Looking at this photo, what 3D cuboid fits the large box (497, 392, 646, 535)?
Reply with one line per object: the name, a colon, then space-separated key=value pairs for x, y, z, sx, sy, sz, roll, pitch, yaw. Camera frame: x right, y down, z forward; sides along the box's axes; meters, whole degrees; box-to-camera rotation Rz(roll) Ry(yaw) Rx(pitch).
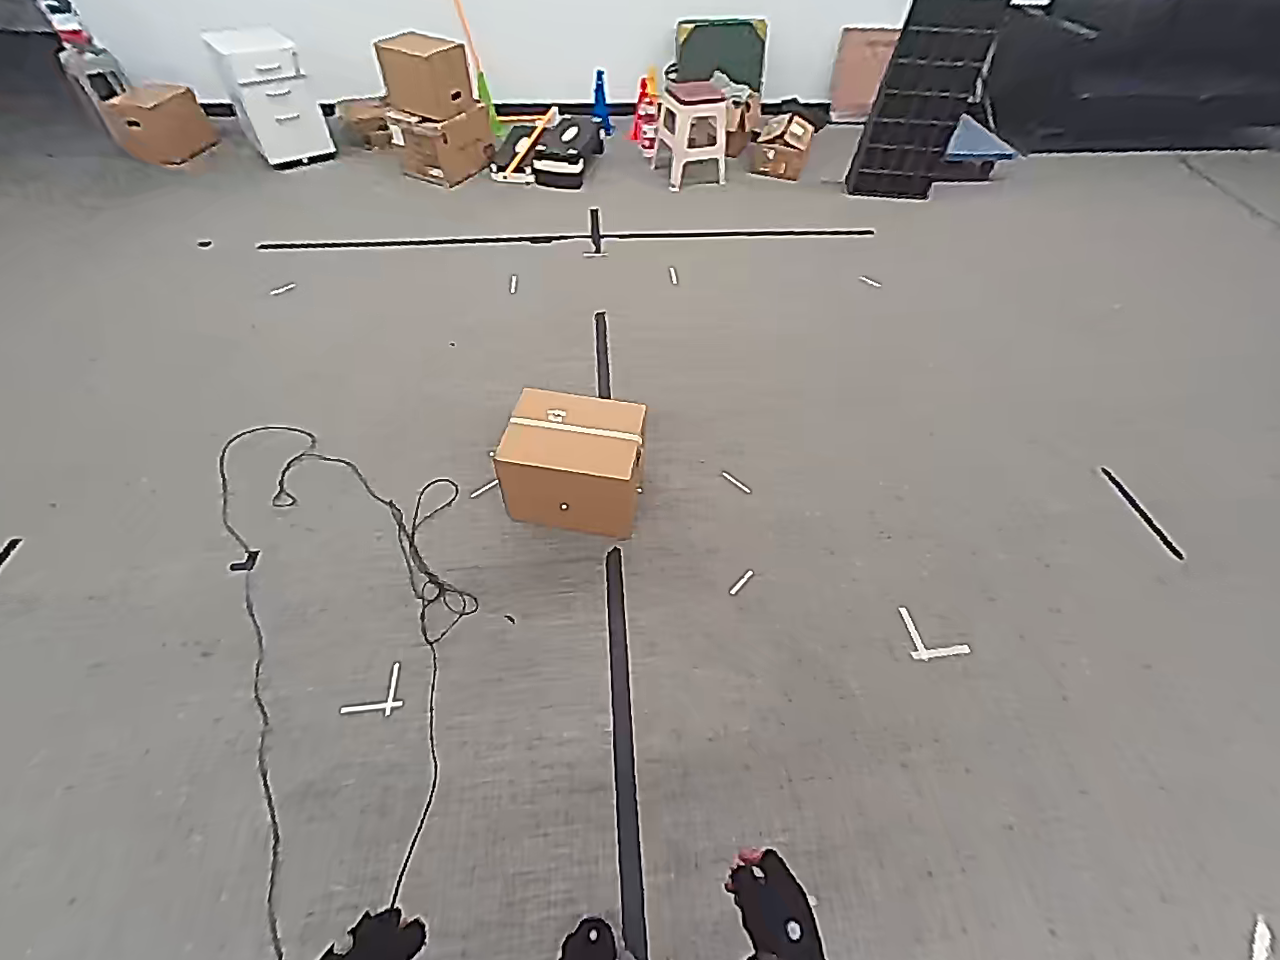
large box: x=-0.198 y=-0.049 z=1.754 sx=0.408 sy=0.320 sz=0.320 roll=9 pitch=51 yaw=5
